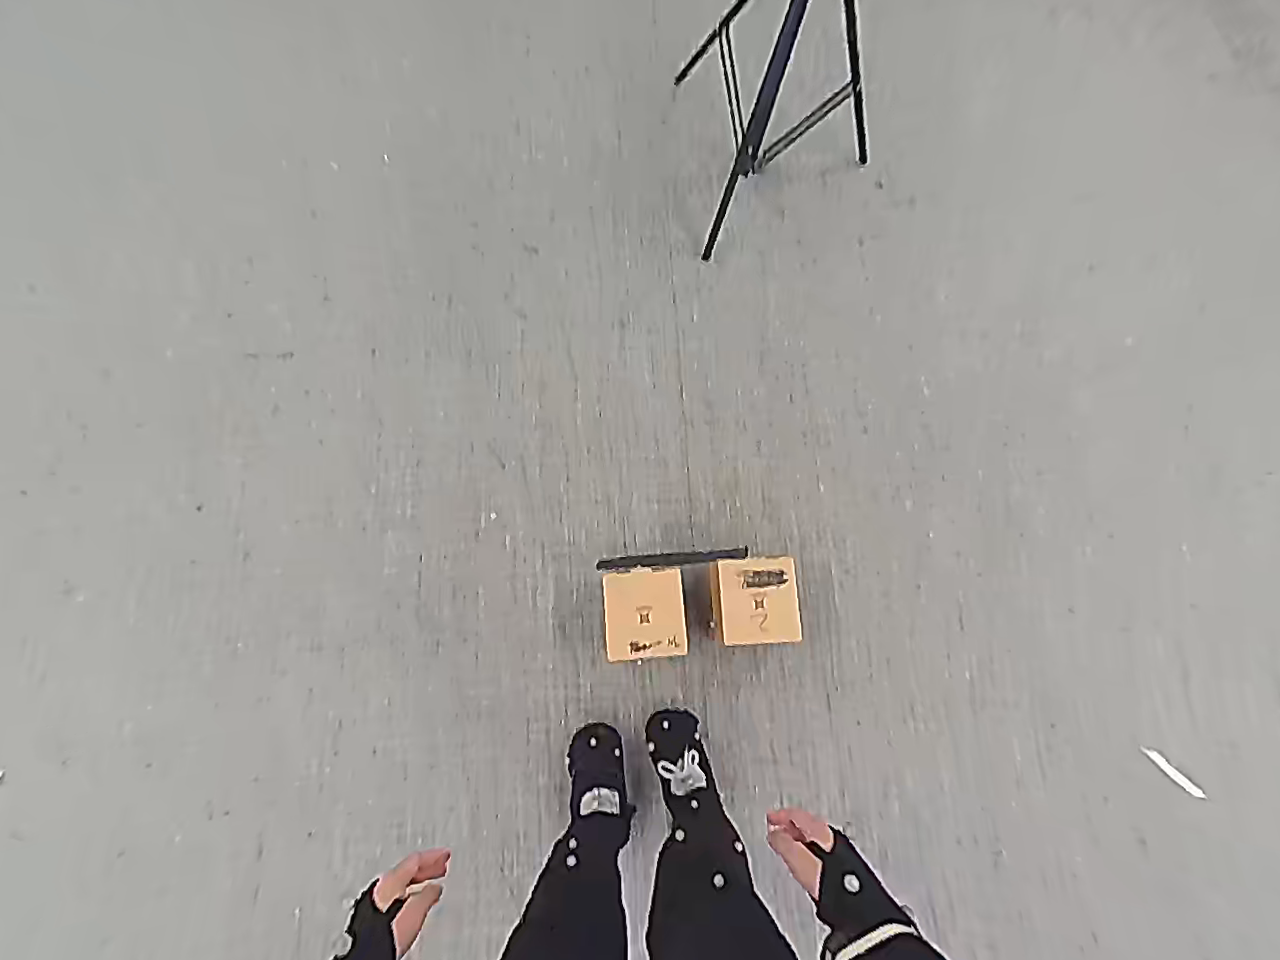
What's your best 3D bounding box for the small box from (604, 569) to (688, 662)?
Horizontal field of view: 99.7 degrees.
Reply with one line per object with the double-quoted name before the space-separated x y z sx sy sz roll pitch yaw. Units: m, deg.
"small box" 0.006 0.296 1.184 0.168 0.176 0.179 -4 77 -4
